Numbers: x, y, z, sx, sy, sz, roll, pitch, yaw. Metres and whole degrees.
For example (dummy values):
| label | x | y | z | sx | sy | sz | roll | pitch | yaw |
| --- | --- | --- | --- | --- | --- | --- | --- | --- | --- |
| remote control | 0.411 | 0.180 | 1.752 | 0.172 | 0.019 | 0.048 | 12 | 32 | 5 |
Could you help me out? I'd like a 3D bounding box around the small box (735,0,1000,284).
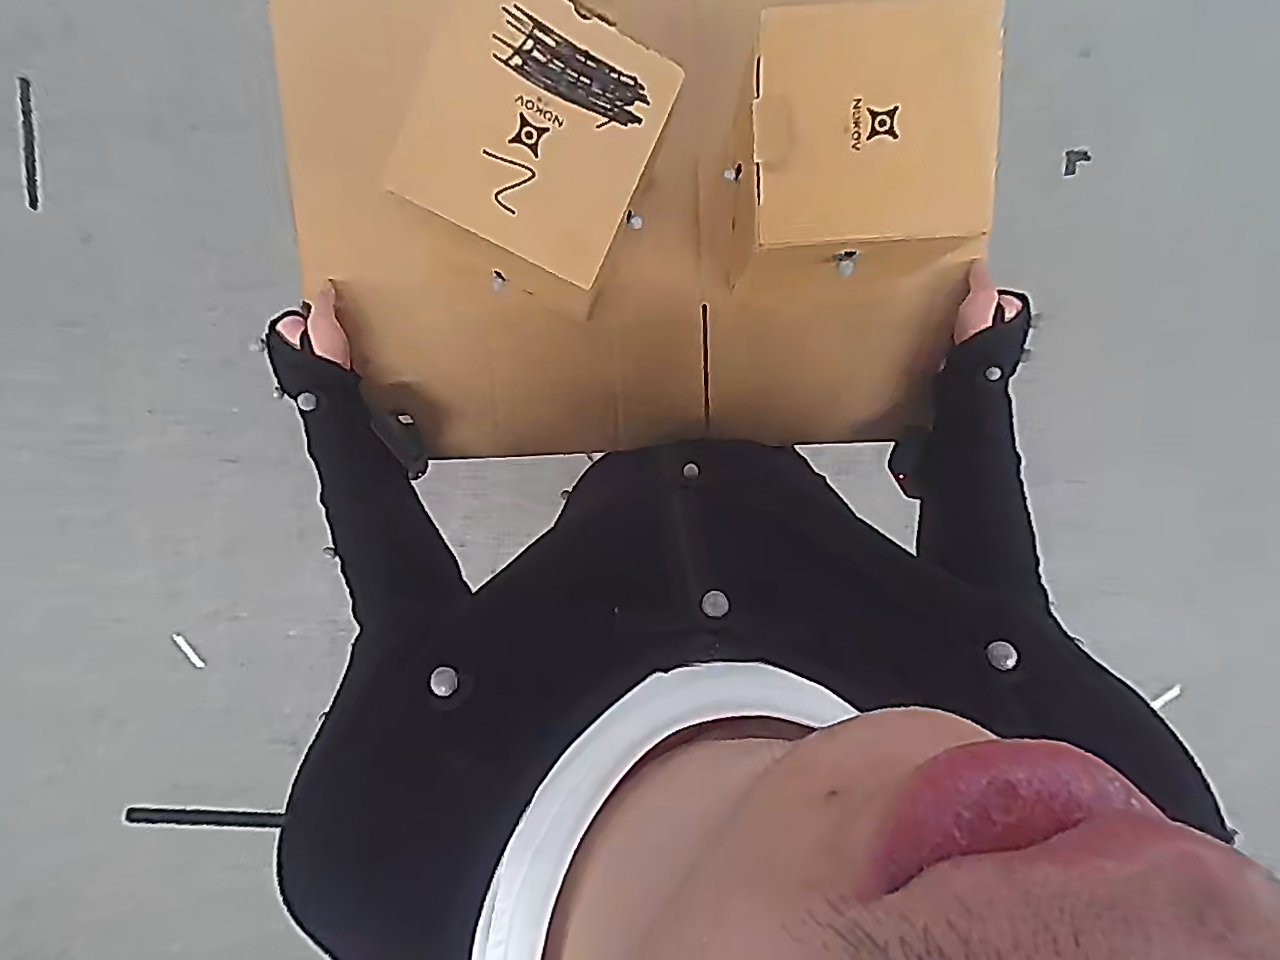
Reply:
| label | x | y | z | sx | sy | sz | roll | pitch | yaw |
| --- | --- | --- | --- | --- | --- | --- | --- | --- | --- |
| small box | 0.185 | -0.282 | 0.492 | 0.179 | 0.176 | 0.168 | -2 | 98 | 4 |
